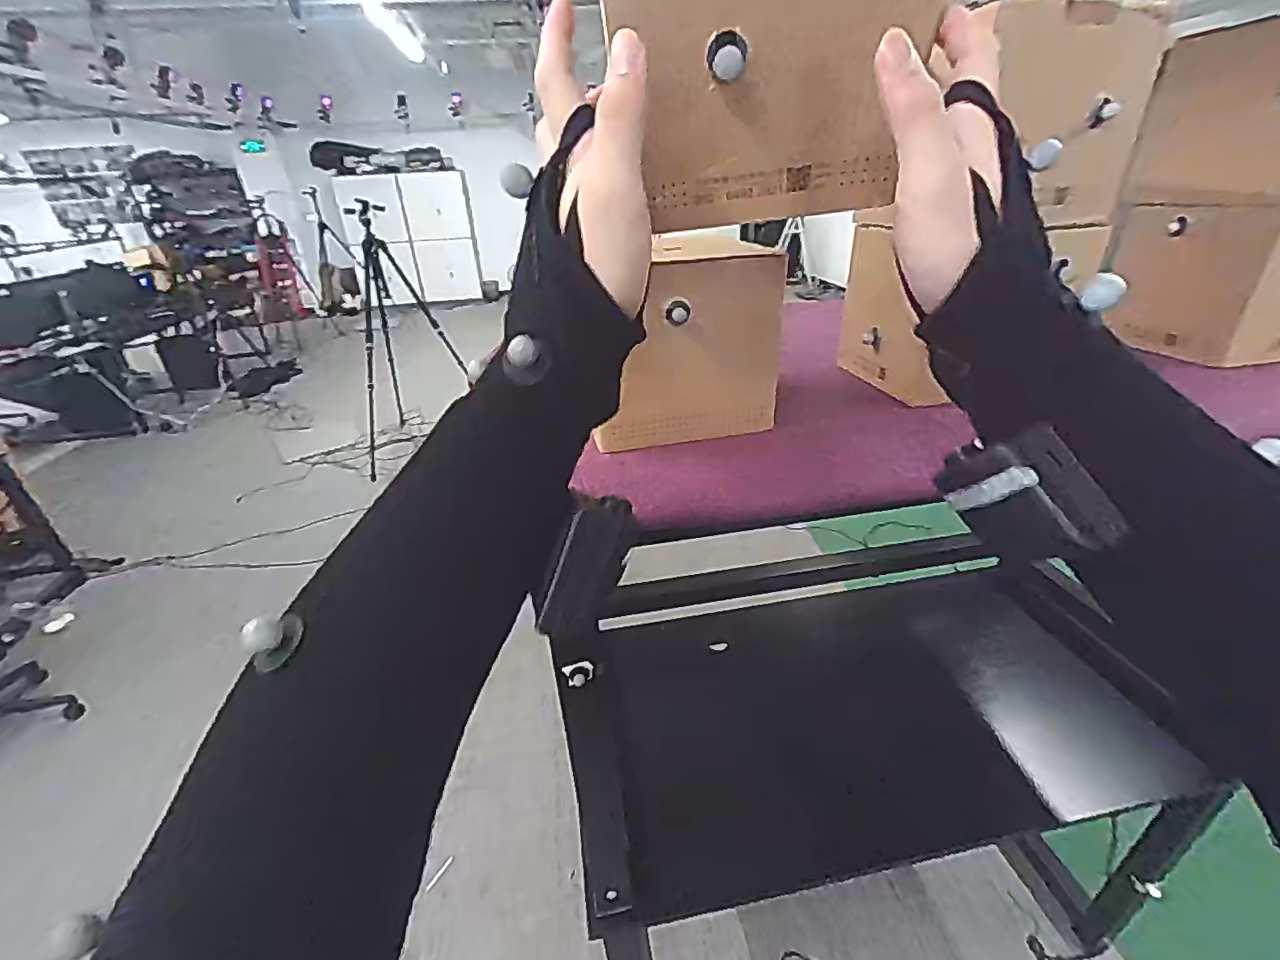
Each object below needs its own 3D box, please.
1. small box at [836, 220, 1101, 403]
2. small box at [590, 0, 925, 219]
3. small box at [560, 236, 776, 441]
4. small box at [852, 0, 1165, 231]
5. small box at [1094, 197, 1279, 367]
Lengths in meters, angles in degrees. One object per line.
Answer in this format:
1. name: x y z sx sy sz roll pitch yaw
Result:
1. small box: 0.344 -0.197 0.608 0.179 0.176 0.168 -7 29 -6
2. small box: 0.065 -0.279 0.329 0.168 0.176 0.179 -4 54 8
3. small box: 0.021 -0.148 0.553 0.179 0.176 0.168 -8 30 -10
4. small box: 0.334 -0.342 0.535 0.168 0.176 0.179 -6 28 -8
5. small box: 0.712 -0.244 0.654 0.179 0.176 0.168 -7 27 -8
